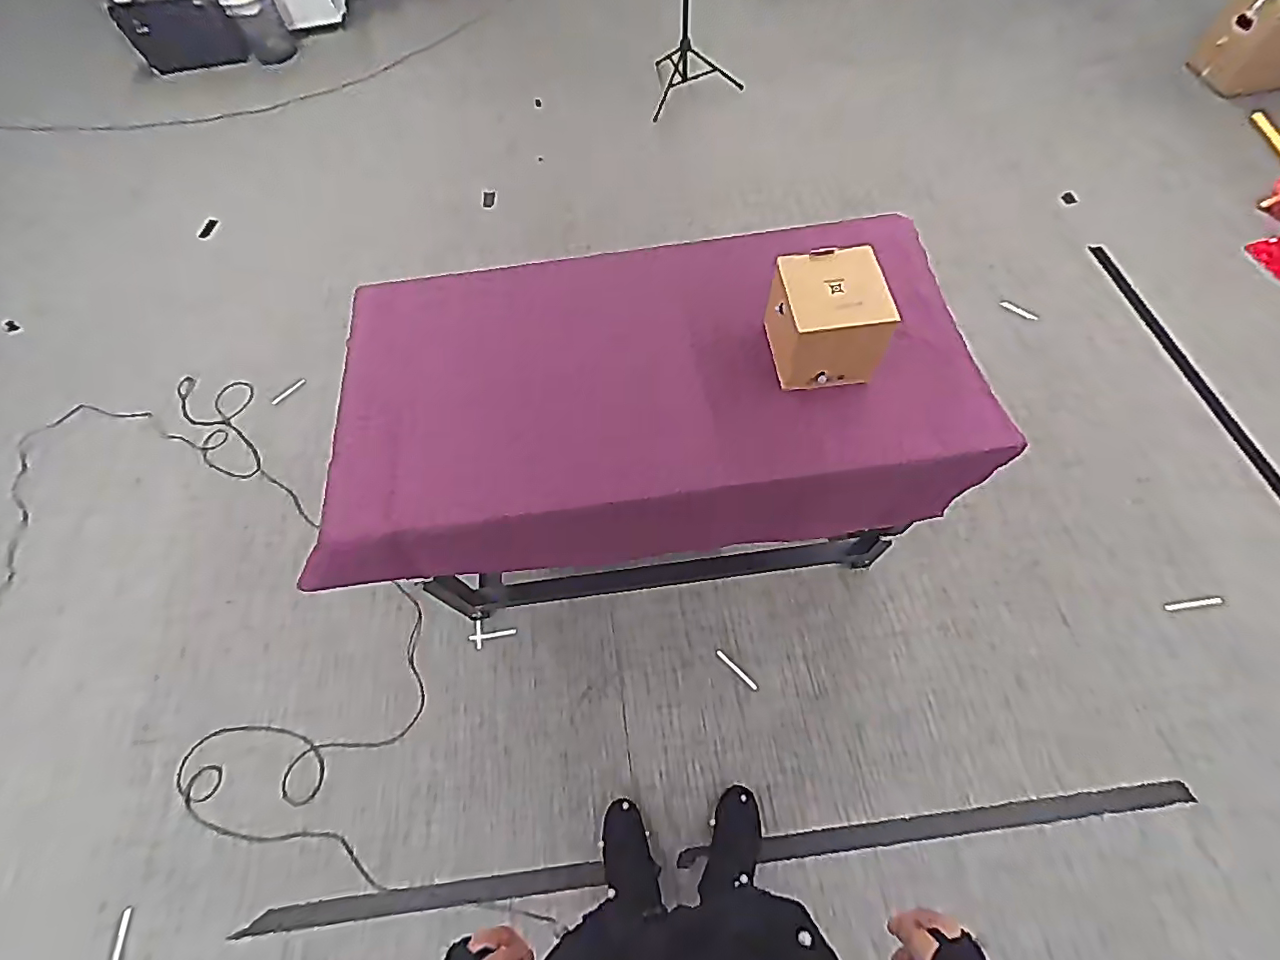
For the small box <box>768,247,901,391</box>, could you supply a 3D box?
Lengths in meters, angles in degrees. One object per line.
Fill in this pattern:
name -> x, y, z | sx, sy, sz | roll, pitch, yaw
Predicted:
small box -> 0.332, -0.282, 0.963 | 0.168, 0.176, 0.179 | -6, 64, 2
